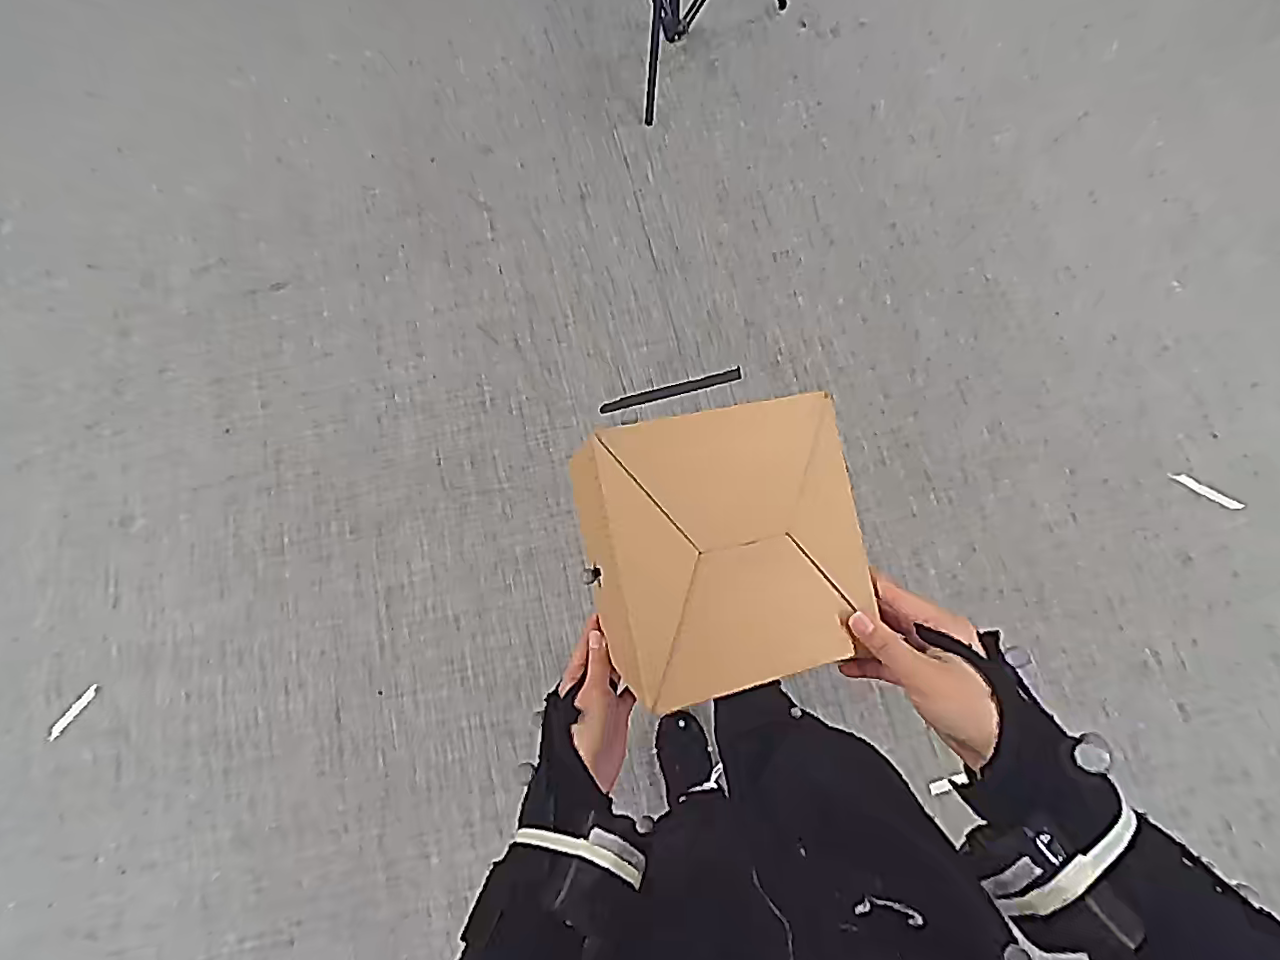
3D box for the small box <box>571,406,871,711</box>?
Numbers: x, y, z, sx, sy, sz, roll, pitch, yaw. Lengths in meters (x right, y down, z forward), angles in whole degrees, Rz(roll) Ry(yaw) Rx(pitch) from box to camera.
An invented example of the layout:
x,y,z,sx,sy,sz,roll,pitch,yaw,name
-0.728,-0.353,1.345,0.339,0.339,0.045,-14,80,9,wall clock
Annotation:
x,y,z,sx,sy,sz,roll,pitch,yaw,name
0.050,0.050,0.423,0.168,0.176,0.179,-11,87,-13,small box
